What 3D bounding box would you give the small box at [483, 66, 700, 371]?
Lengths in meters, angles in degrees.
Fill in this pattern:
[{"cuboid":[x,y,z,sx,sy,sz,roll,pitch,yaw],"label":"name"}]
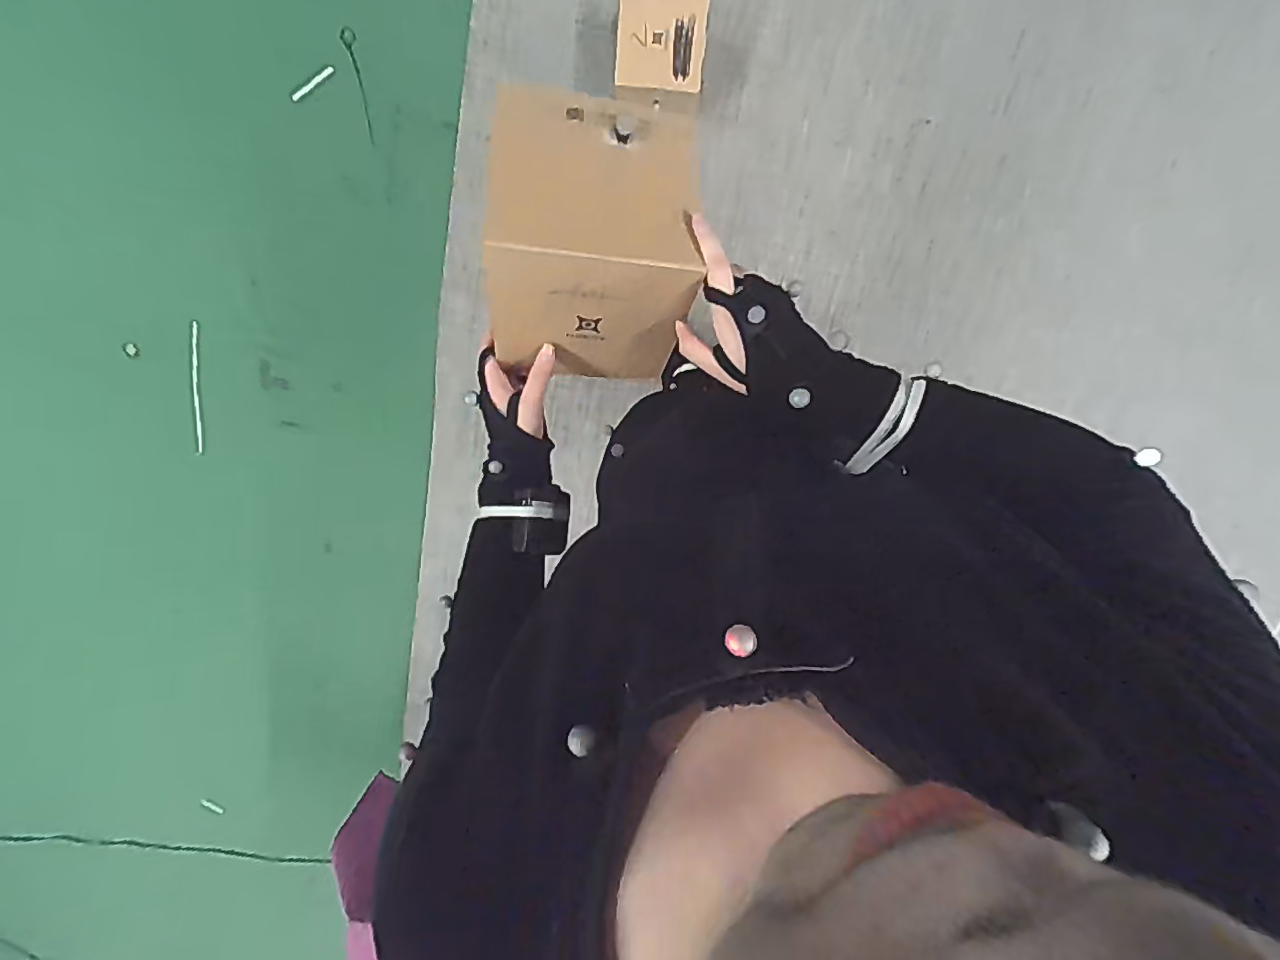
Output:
[{"cuboid":[-0.051,-0.222,0.498,0.168,0.179,0.176,2,72,-12],"label":"small box"}]
